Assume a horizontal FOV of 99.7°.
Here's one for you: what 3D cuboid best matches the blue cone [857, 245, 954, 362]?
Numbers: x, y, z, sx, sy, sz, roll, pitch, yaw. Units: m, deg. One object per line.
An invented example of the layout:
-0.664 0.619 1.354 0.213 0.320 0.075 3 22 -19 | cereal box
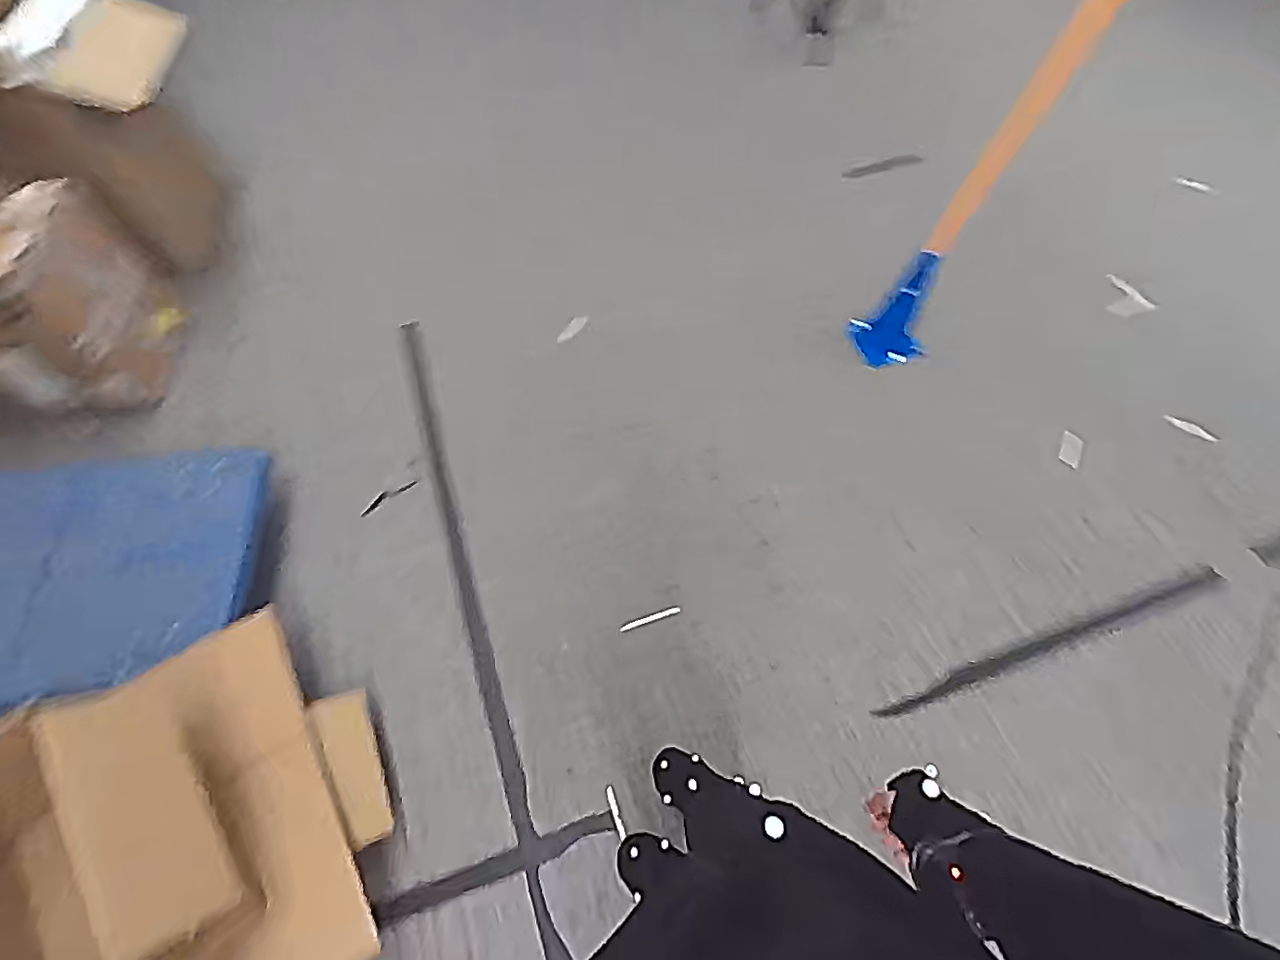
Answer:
0.837 -0.550 1.654 0.192 0.380 0.193 -13 63 -8 | blue cone
